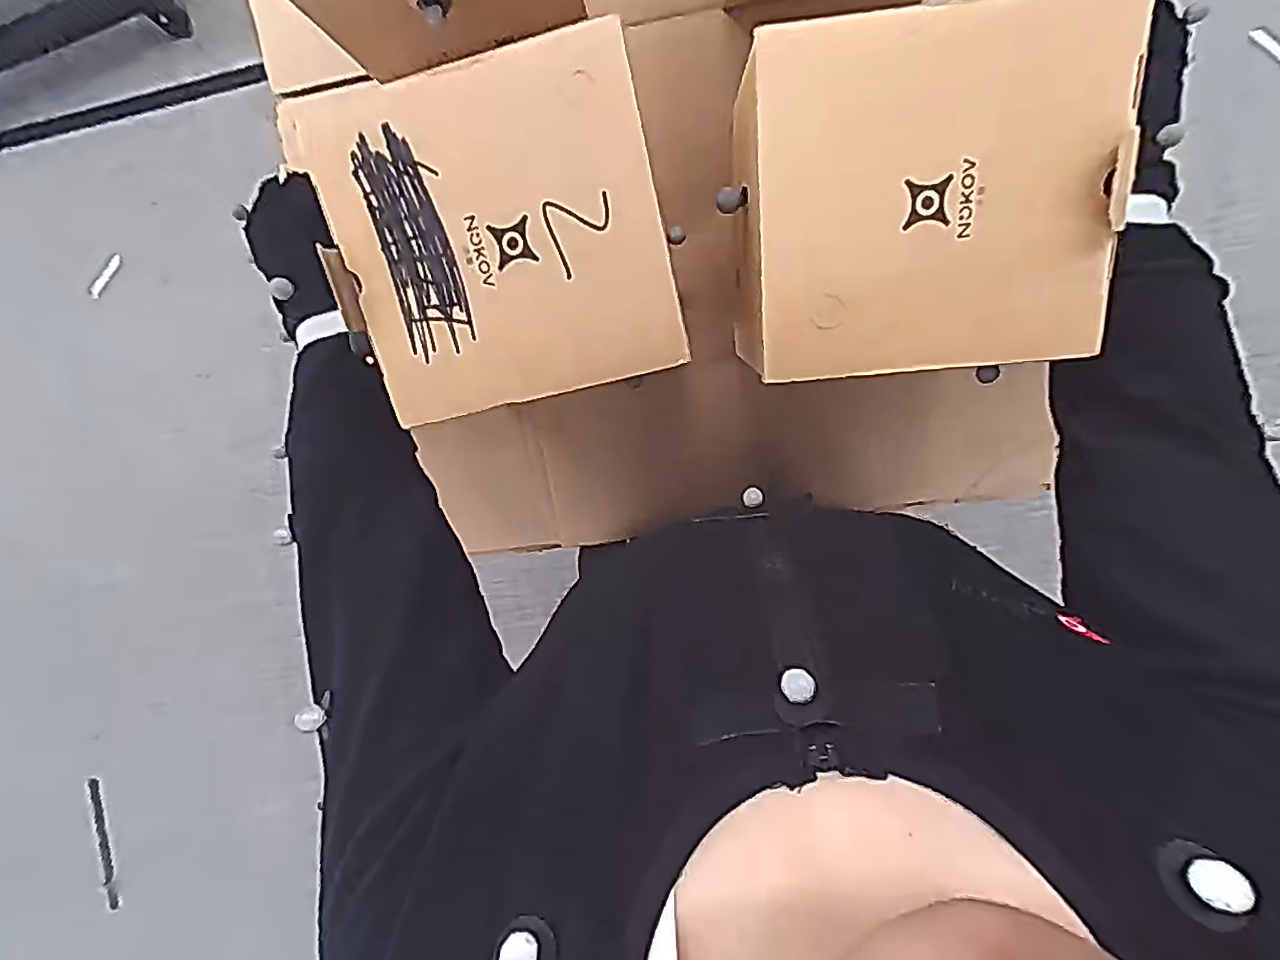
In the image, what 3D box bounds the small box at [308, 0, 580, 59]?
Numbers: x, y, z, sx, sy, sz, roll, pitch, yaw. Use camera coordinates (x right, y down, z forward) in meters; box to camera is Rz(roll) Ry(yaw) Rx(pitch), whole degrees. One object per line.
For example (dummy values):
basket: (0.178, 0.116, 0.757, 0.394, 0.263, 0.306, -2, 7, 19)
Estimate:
small box: (-0.139, -0.385, 0.311, 0.168, 0.176, 0.179, -8, 101, 6)
